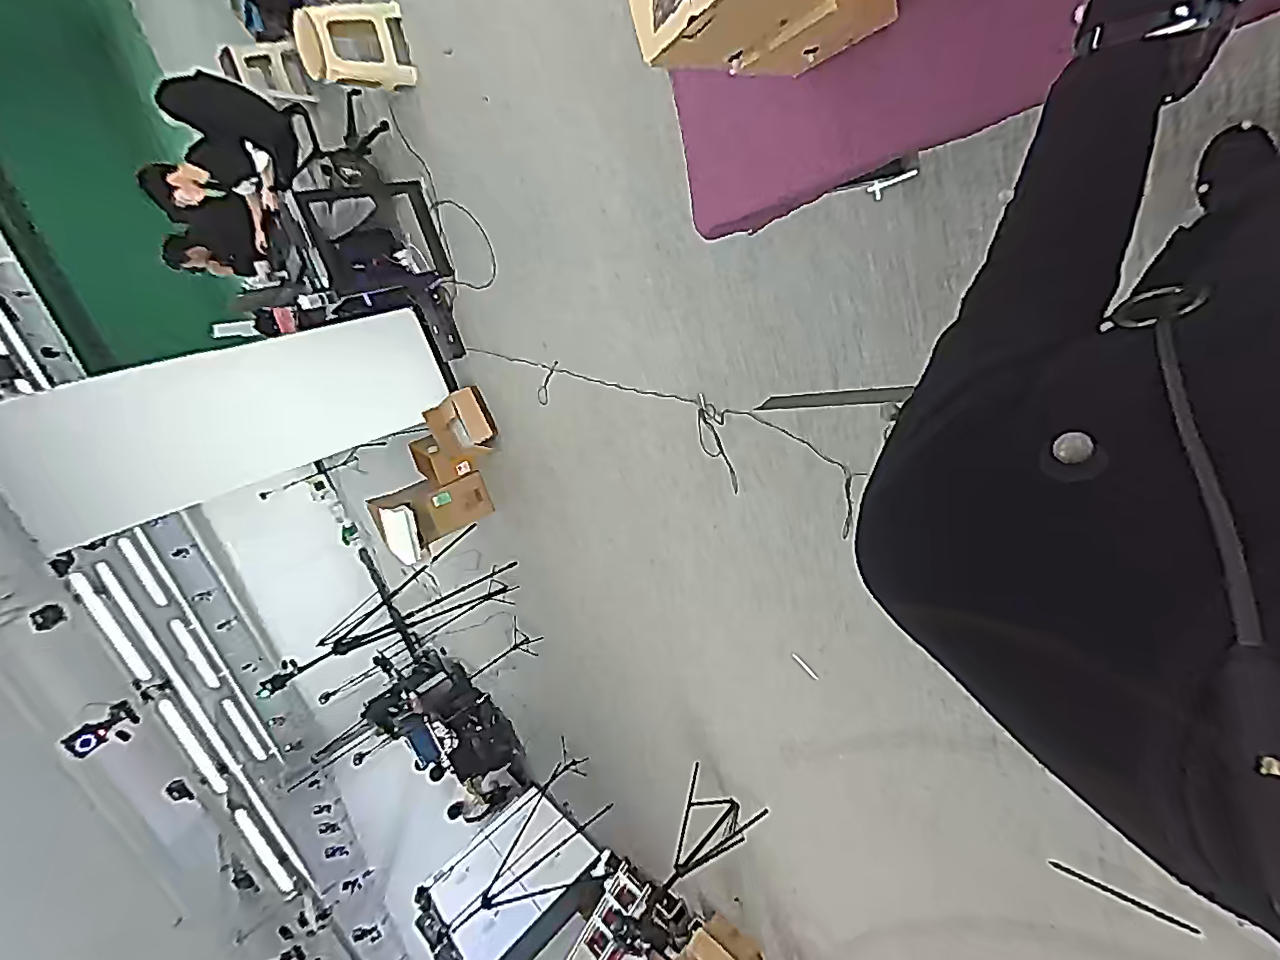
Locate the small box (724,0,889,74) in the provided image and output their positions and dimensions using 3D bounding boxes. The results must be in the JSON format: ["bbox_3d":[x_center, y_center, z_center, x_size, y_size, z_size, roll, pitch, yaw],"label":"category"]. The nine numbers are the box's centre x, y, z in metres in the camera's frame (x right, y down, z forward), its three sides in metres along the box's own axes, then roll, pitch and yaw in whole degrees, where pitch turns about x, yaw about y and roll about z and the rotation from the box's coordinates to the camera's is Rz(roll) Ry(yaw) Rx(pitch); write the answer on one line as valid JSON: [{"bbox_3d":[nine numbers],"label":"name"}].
[{"bbox_3d":[0.210,-0.676,0.716,0.168,0.176,0.179,8,120,48],"label":"small box"}]

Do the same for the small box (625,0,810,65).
[{"bbox_3d":[0.087,-0.619,0.623,0.168,0.176,0.179,2,115,51],"label":"small box"}]
